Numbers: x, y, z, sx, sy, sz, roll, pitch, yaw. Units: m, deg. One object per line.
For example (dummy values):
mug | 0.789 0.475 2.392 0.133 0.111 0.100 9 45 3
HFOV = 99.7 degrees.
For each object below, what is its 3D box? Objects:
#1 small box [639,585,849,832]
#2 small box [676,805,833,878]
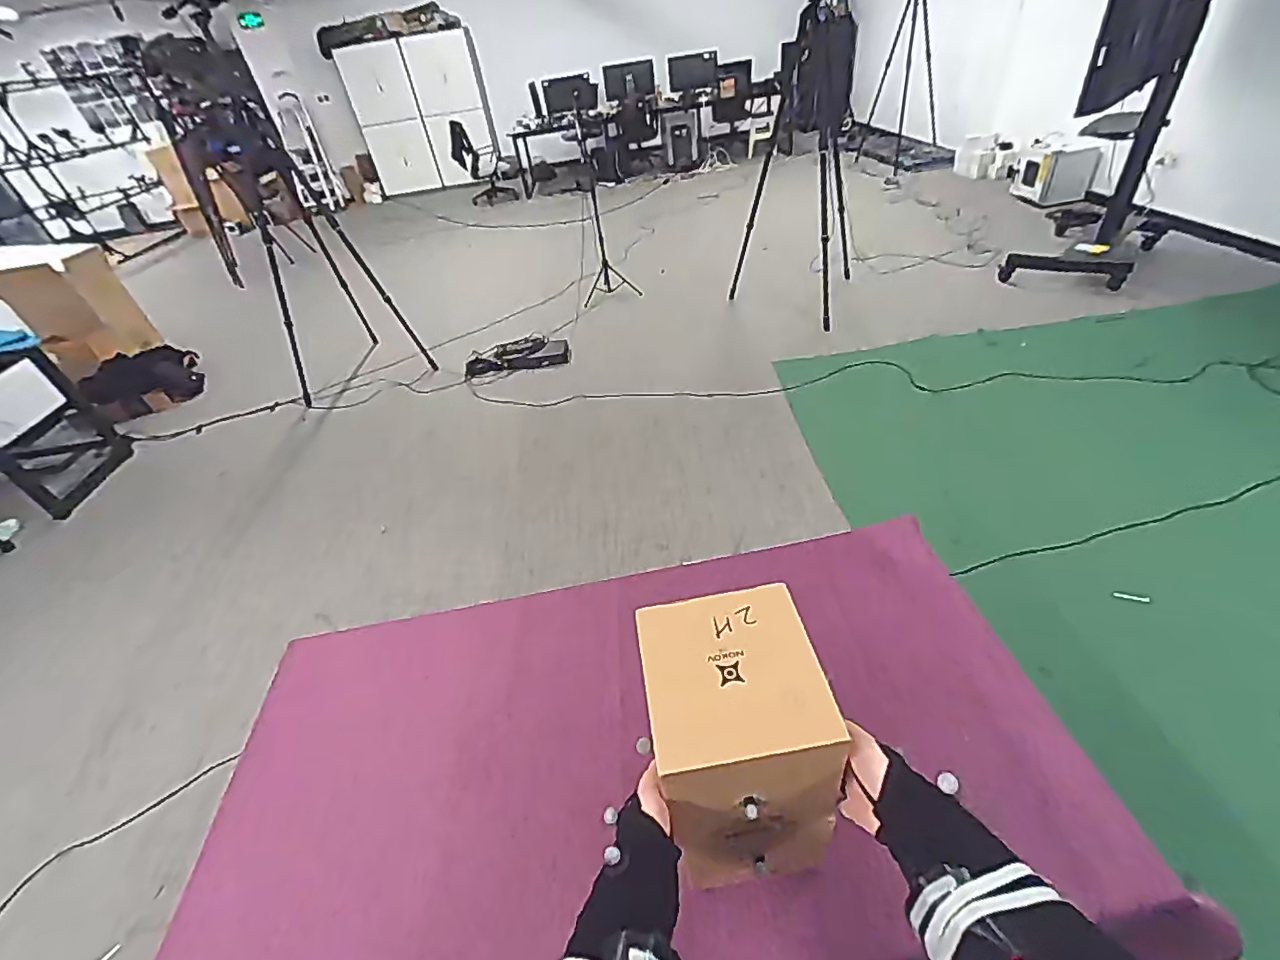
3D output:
small box | 0.099 0.241 0.564 0.168 0.176 0.179 -10 39 -1
small box | 0.123 0.366 0.669 0.168 0.176 0.179 -9 40 0
